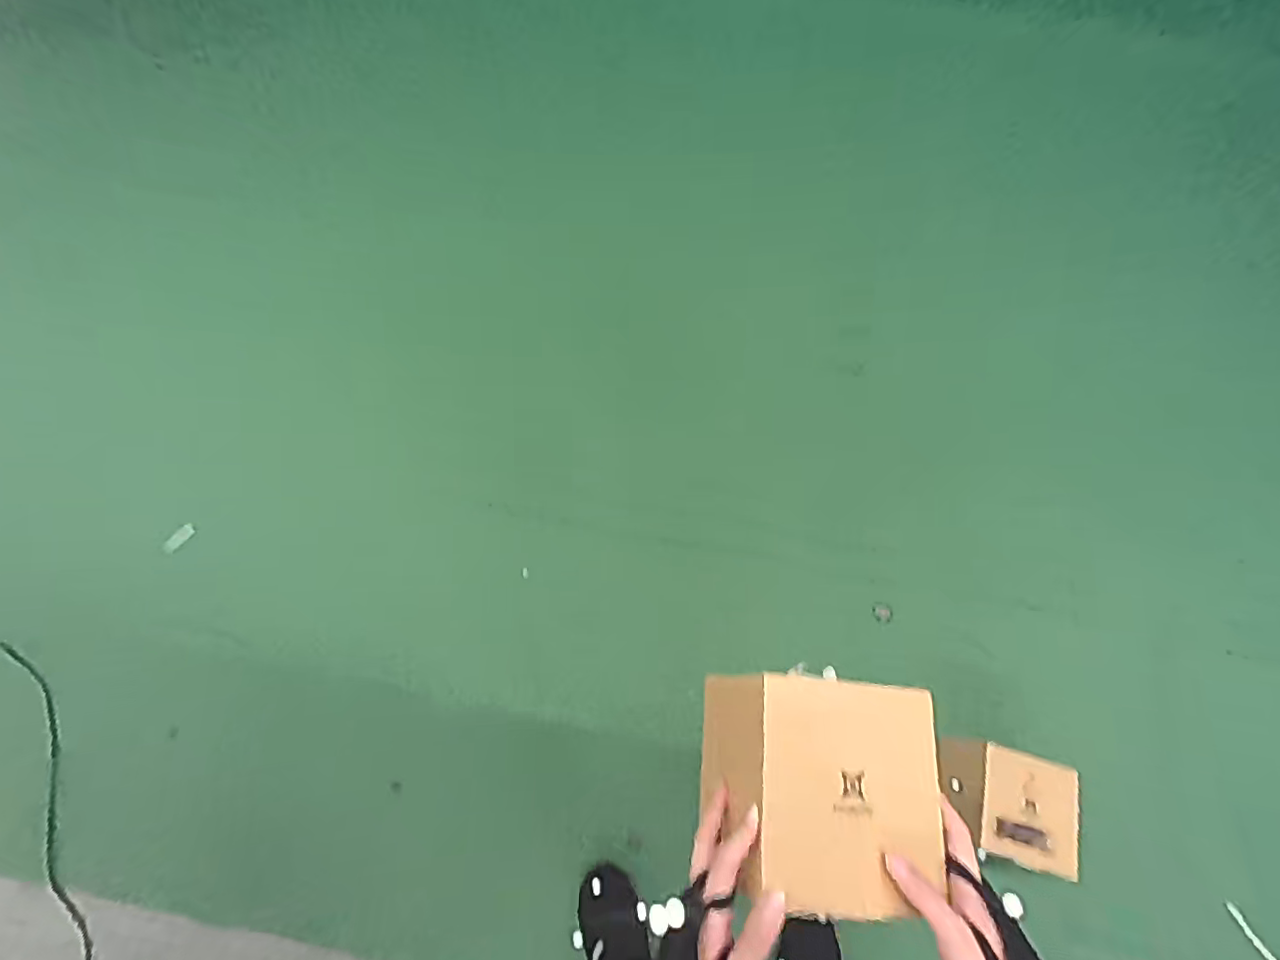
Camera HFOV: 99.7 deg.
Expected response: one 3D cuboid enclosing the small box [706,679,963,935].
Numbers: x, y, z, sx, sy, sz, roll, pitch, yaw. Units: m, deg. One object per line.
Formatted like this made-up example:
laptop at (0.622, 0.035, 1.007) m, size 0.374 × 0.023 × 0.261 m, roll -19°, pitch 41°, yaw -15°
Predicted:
small box at (0.166, 0.289, 0.516) m, size 0.168 × 0.176 × 0.179 m, roll 9°, pitch 70°, yaw -8°
